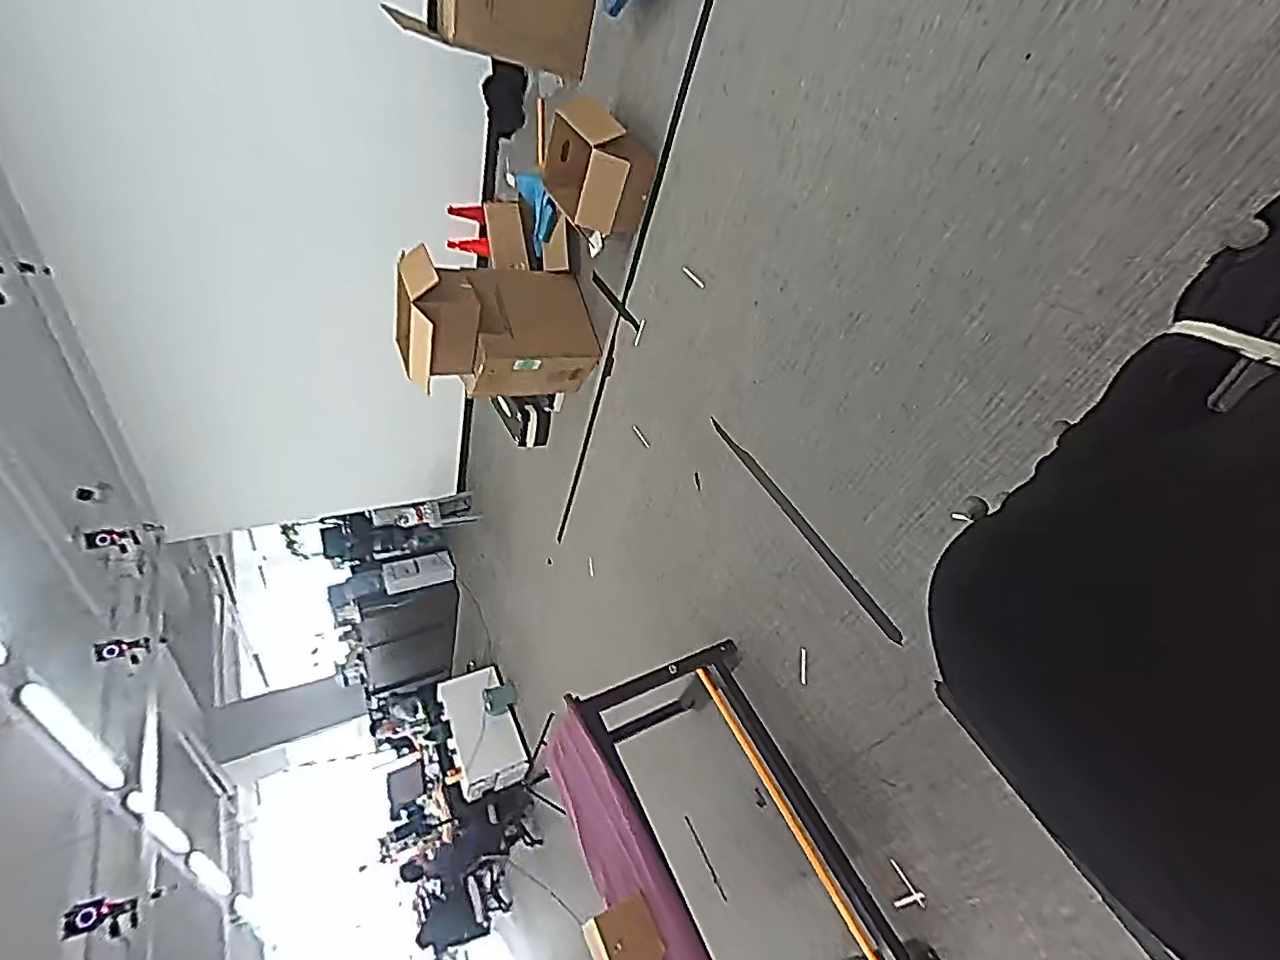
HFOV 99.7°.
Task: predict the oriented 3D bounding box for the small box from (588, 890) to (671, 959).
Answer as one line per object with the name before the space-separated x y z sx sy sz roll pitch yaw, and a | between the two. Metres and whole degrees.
small box | -0.034 1.397 1.657 0.179 0.176 0.168 56 142 34
